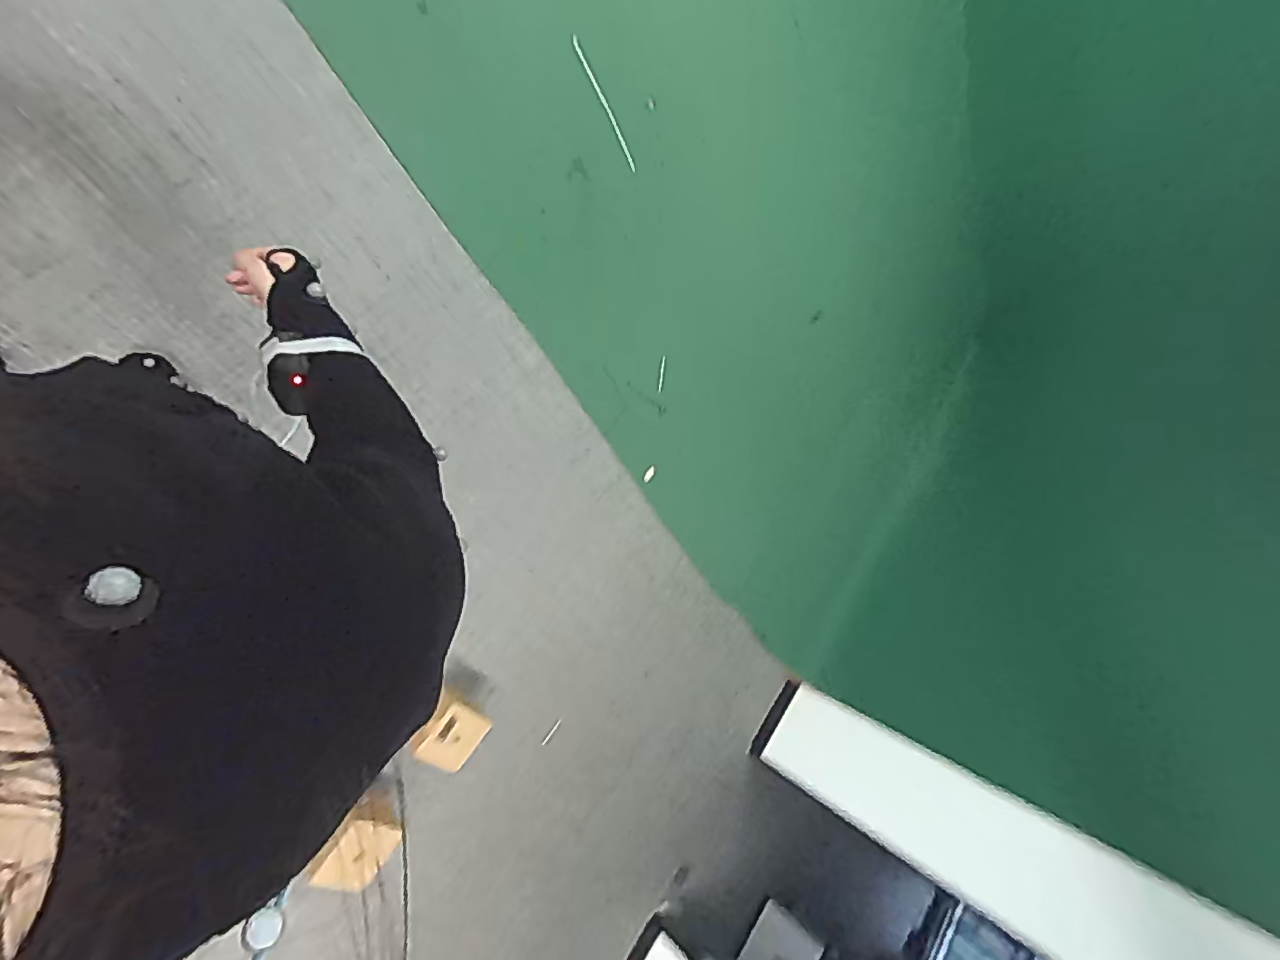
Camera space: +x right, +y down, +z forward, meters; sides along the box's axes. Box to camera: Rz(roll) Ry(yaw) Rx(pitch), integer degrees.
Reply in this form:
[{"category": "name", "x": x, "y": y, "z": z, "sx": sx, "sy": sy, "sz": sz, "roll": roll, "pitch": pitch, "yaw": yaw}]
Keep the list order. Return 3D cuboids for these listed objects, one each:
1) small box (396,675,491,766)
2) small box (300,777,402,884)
[{"category": "small box", "x": -0.593, "y": 0.714, "z": 1.622, "sx": 0.168, "sy": 0.176, "sz": 0.179, "roll": -52, "pitch": 131, "yaw": -18}, {"category": "small box", "x": -0.809, "y": 0.970, "z": 1.506, "sx": 0.179, "sy": 0.176, "sz": 0.168, "roll": -53, "pitch": 130, "yaw": -16}]
